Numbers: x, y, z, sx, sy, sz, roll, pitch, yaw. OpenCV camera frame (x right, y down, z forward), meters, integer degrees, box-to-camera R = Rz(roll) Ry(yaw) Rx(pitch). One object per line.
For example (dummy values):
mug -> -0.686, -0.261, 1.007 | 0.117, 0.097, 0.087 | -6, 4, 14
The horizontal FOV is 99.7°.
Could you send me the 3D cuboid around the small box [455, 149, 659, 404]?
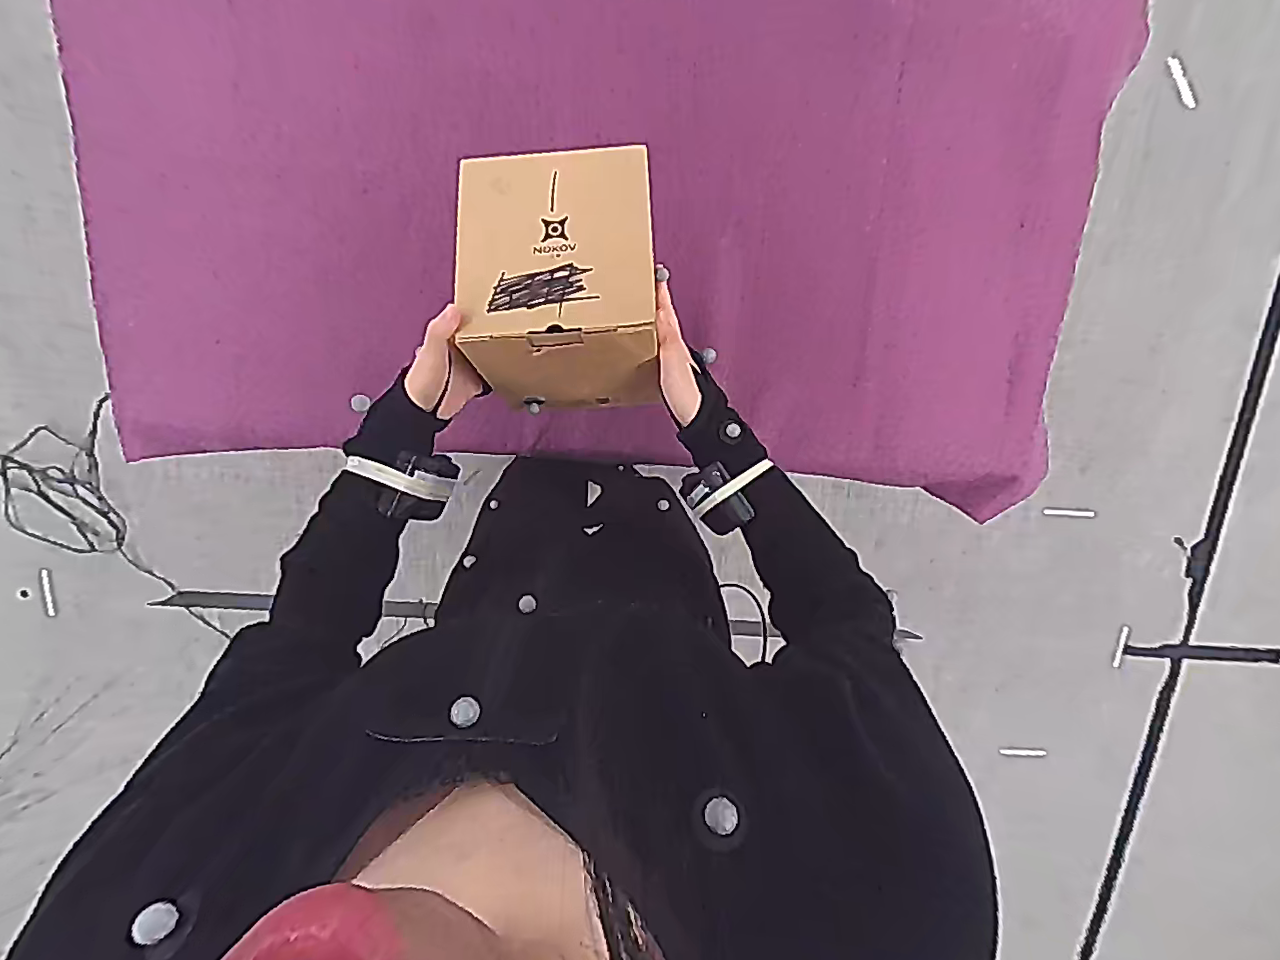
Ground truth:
small box -> -0.068, -0.182, 0.531 | 0.168, 0.176, 0.179 | -3, 75, 2
